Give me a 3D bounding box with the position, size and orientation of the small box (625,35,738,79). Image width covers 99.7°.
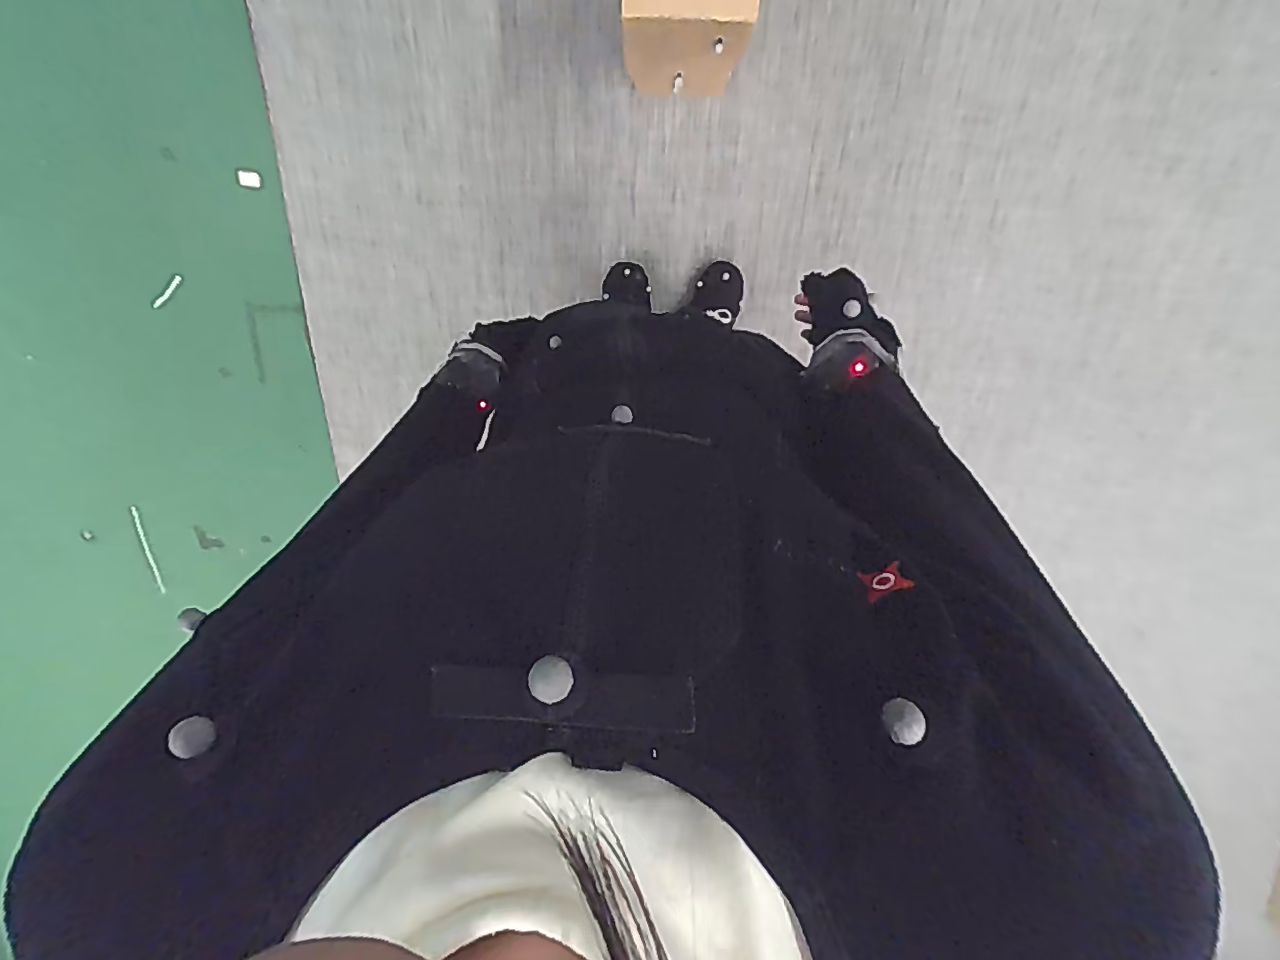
[{"bbox_3d":[0.070,-0.765,0.871,0.179,0.176,0.168,3,117,3],"label":"small box"}]

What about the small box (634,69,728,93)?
[{"bbox_3d":[0.080,-0.844,1.011,0.179,0.176,0.168,4,115,3],"label":"small box"}]

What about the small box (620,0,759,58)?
[{"bbox_3d":[0.069,-0.691,0.723,0.179,0.176,0.168,3,114,4],"label":"small box"}]
